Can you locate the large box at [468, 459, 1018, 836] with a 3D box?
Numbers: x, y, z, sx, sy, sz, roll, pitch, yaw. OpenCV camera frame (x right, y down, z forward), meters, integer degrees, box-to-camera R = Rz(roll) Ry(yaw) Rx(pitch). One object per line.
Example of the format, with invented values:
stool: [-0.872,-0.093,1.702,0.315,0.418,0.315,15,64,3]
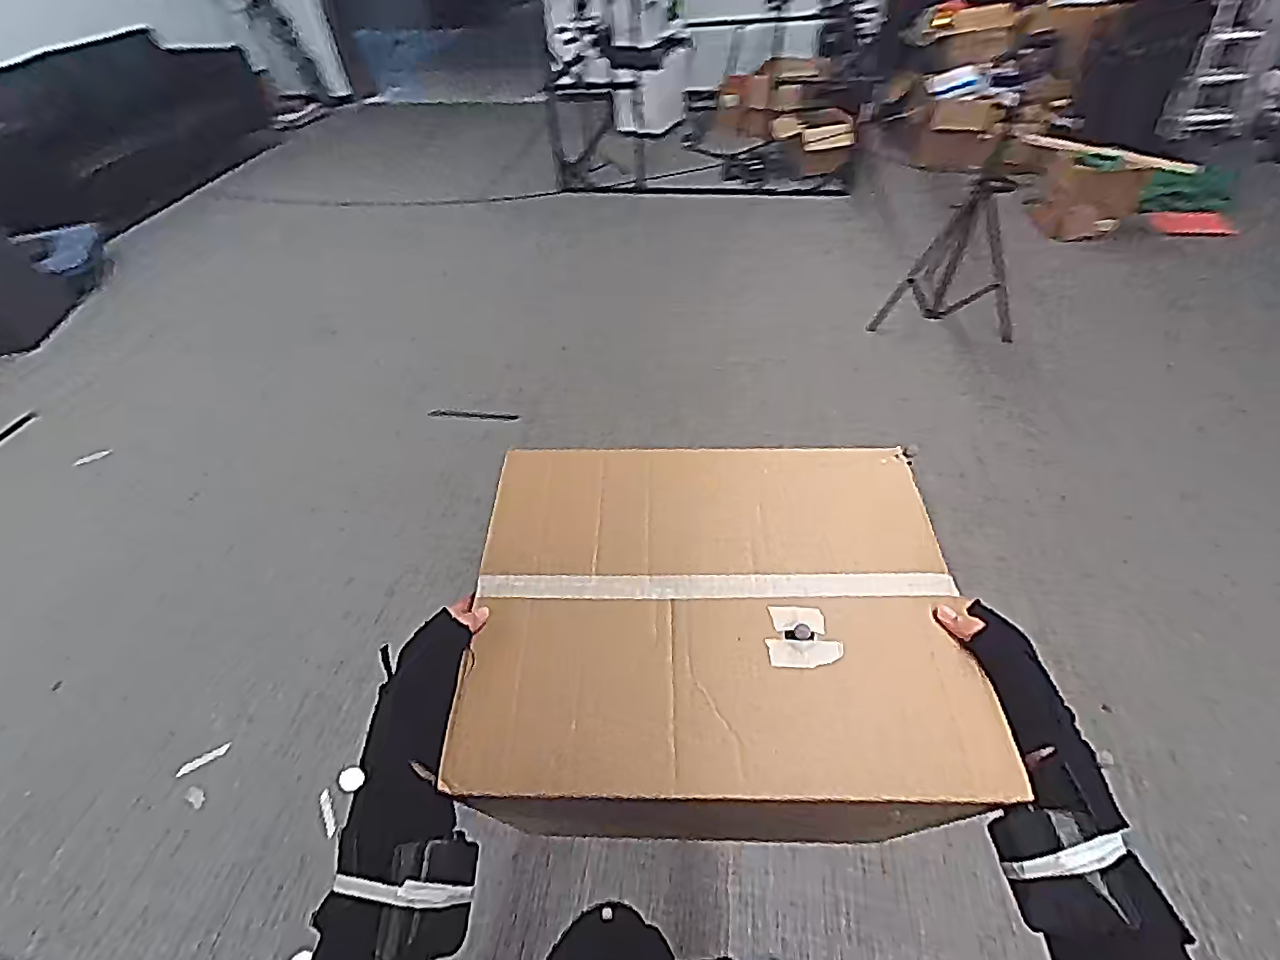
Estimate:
large box: [0.075,0.190,0.593,0.408,0.320,0.320,1,53,2]
